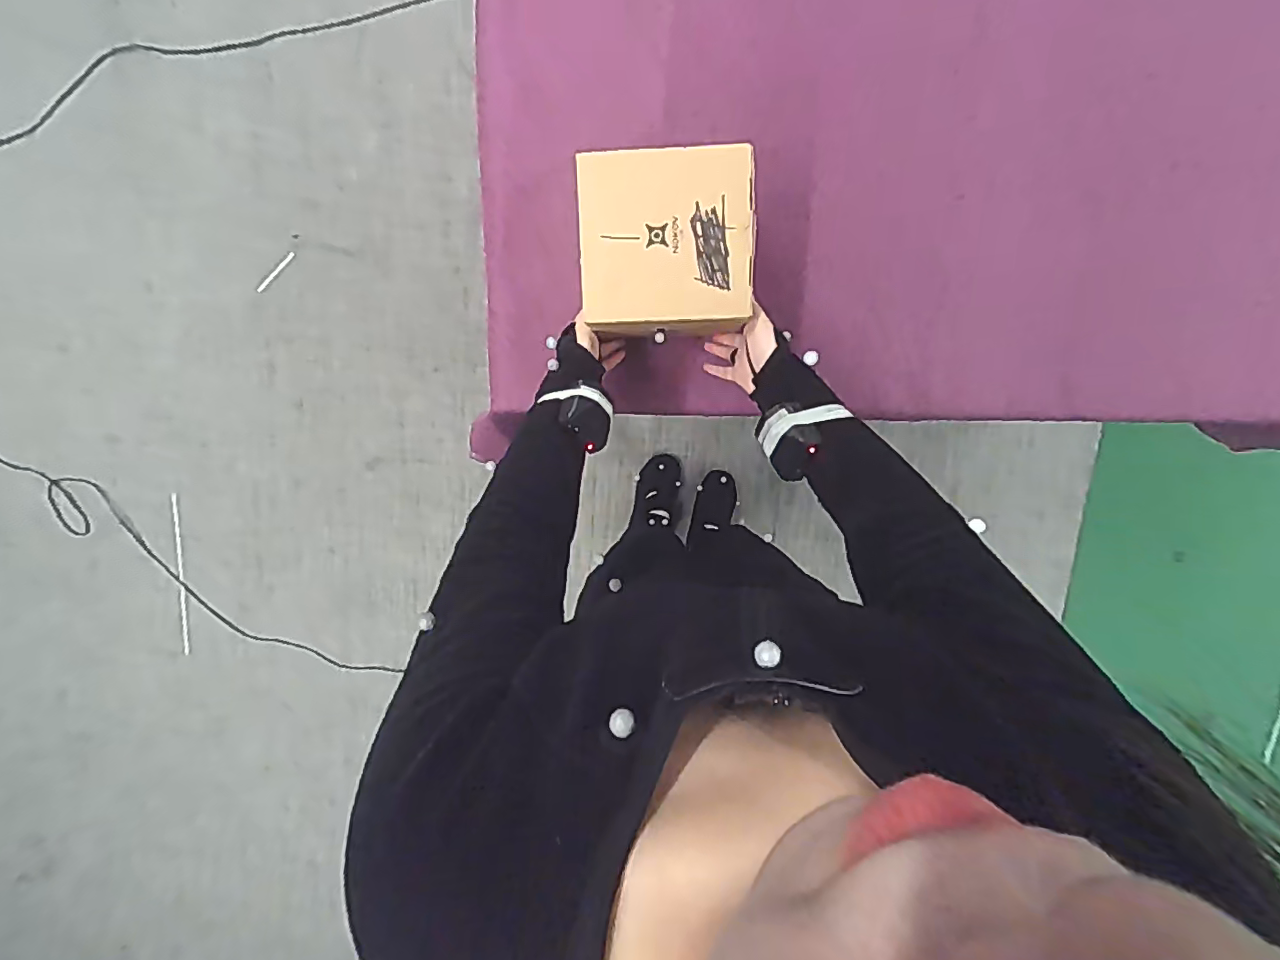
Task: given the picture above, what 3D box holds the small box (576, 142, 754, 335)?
[{"bbox_3d":[0.029,-0.260,0.618,0.179,0.176,0.168,-1,99,4],"label":"small box"}]
